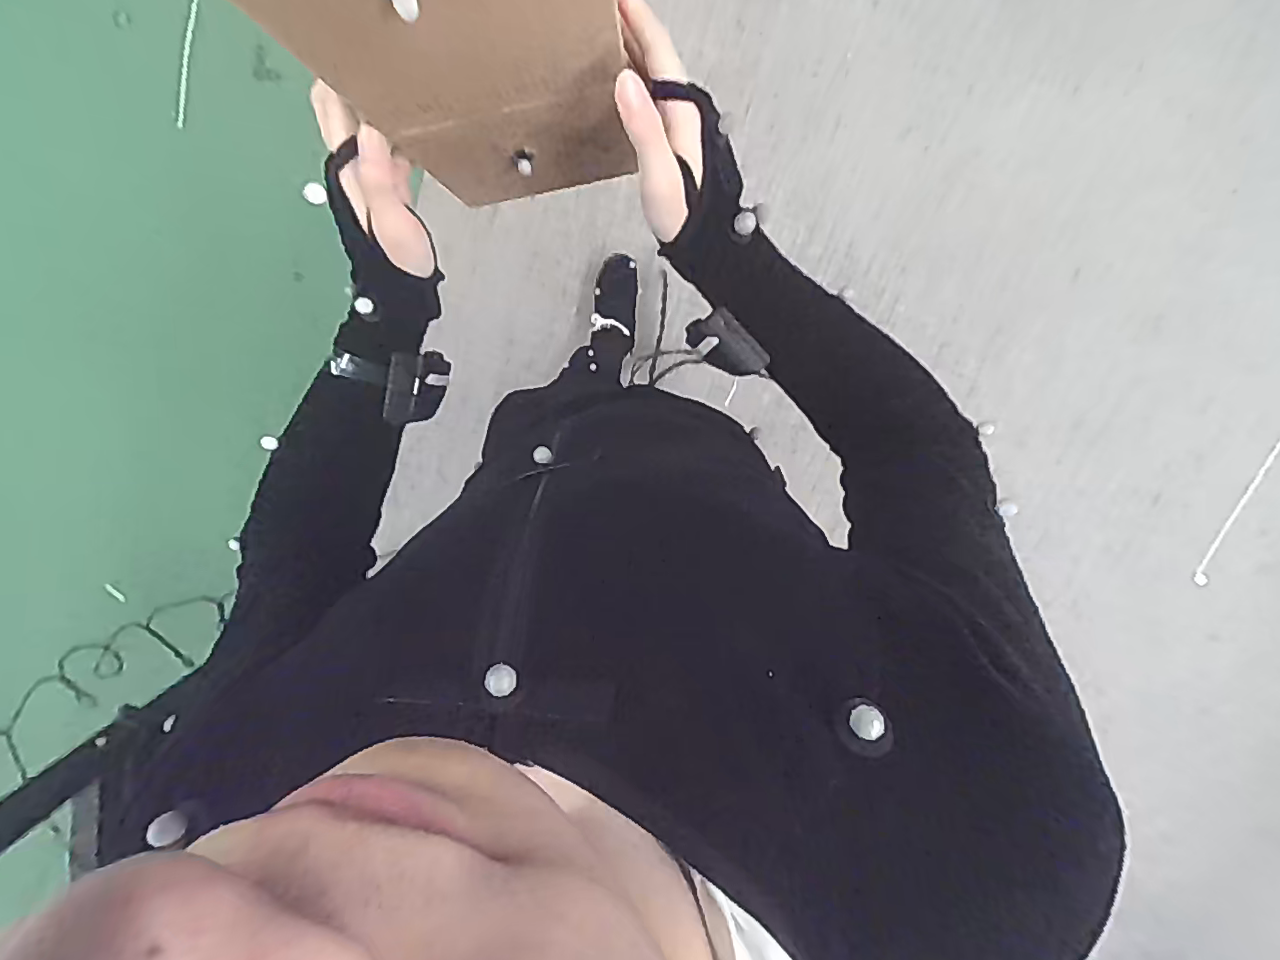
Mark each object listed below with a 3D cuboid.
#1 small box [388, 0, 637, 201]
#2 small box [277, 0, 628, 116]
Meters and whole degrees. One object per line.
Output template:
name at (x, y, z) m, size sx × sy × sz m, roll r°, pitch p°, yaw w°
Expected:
small box at (-0.099, -0.350, 0.436) m, size 0.179 × 0.176 × 0.168 m, roll -10°, pitch 100°, yaw 5°
small box at (-0.107, -0.320, 0.274) m, size 0.179 × 0.176 × 0.168 m, roll -8°, pitch 101°, yaw 4°
